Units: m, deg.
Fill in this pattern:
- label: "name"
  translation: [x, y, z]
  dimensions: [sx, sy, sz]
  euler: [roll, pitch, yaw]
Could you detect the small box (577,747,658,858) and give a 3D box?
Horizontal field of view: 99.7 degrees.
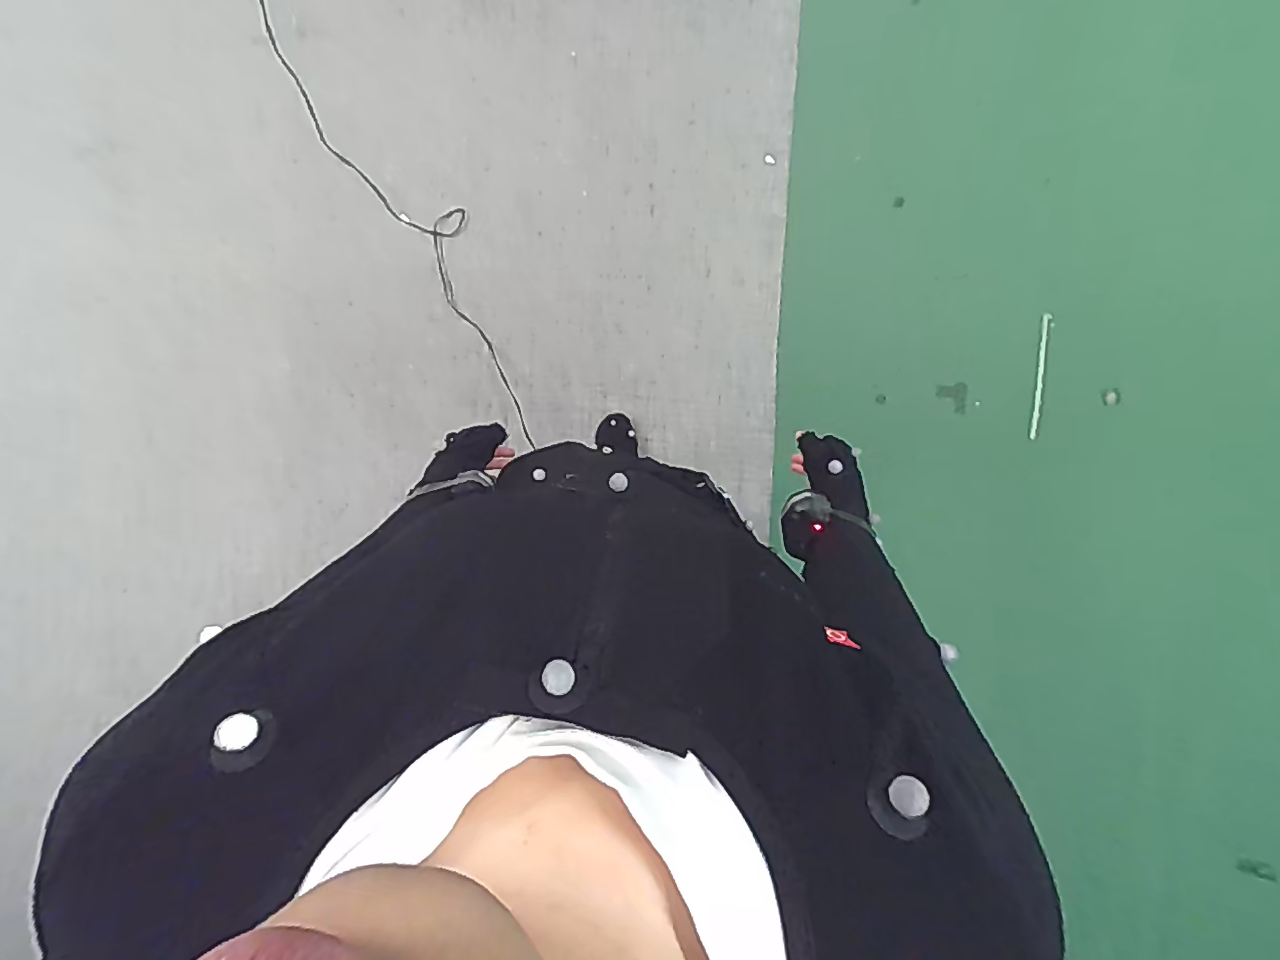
- label: "small box"
  translation: [-0.052, 0.806, 1.374]
  dimensions: [0.168, 0.176, 0.179]
  euler: [-13, 93, 4]
